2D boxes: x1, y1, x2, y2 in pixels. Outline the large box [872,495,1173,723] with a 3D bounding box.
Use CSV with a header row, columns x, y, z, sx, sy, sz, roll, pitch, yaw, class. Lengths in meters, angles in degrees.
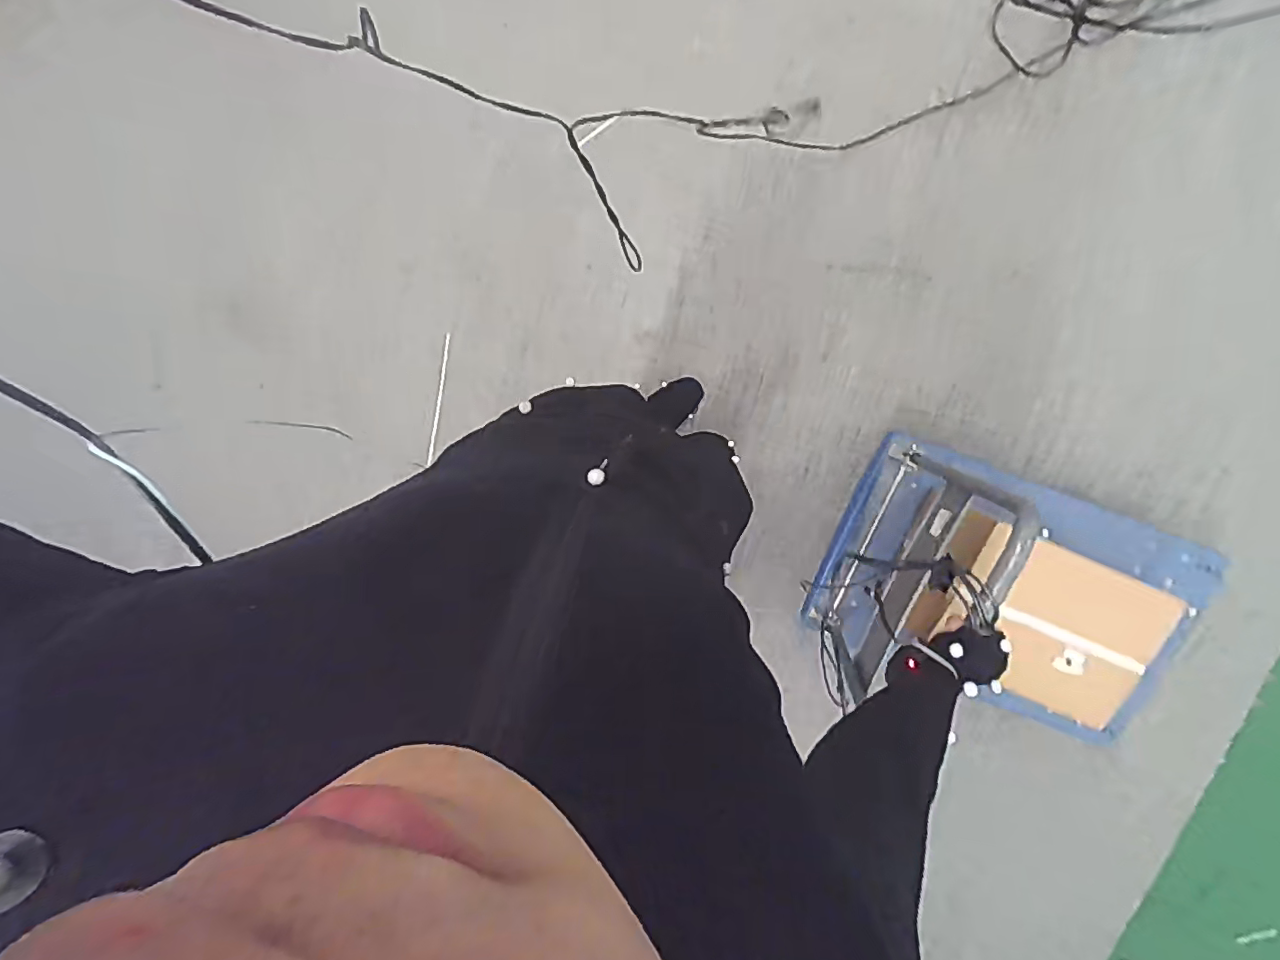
x,y,z,sx,sy,sz,roll,pitch,yaw,class
0.827,0.269,1.245,0.408,0.320,0.320,24,103,1,large box
